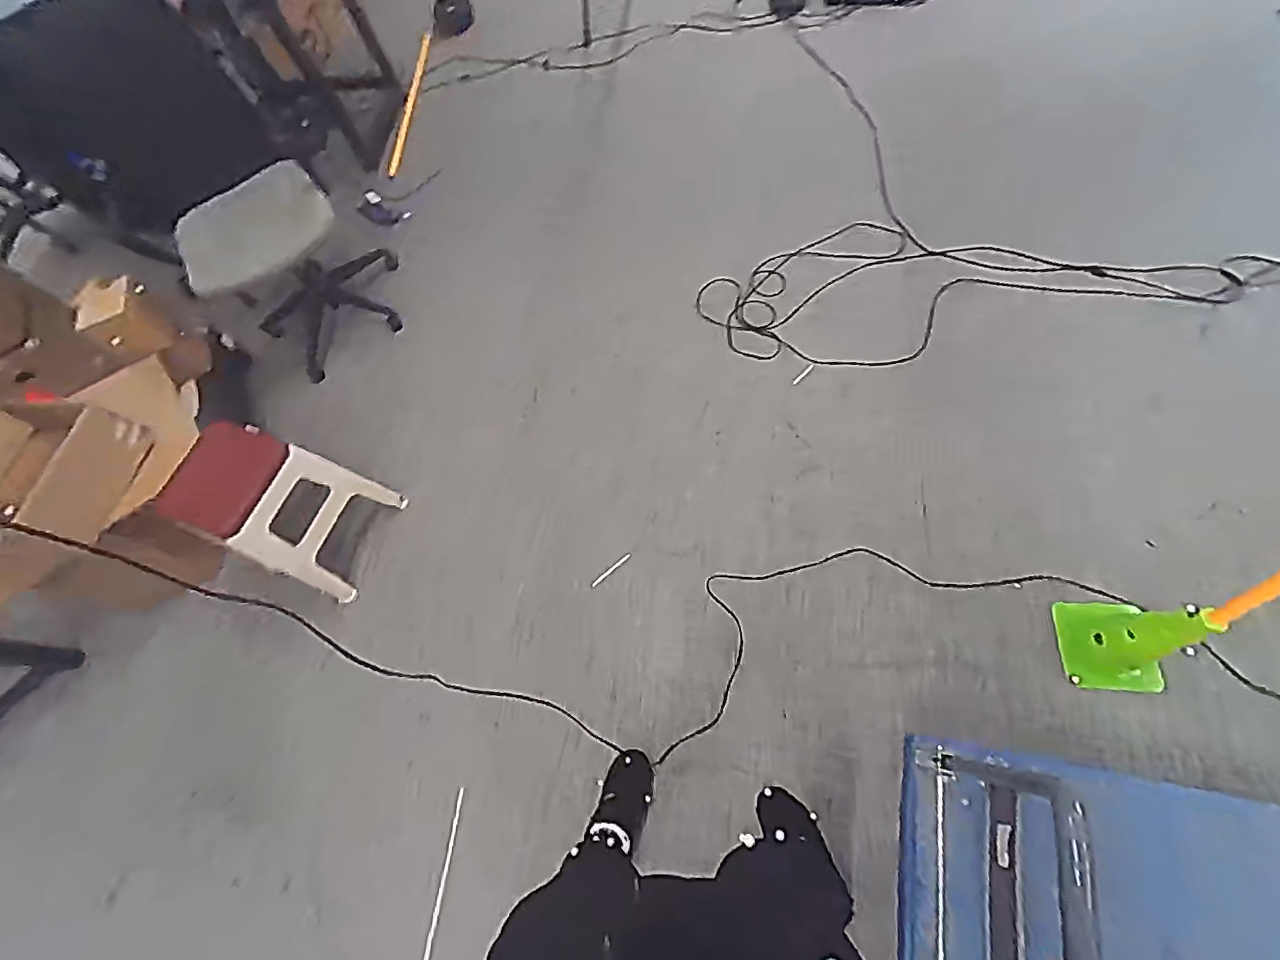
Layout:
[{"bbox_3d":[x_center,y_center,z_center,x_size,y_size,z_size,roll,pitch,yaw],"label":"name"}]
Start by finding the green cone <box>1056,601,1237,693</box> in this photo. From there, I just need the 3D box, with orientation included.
[{"bbox_3d":[1.090,0.320,1.130,0.200,0.368,0.202,-1,64,11],"label":"green cone"}]
